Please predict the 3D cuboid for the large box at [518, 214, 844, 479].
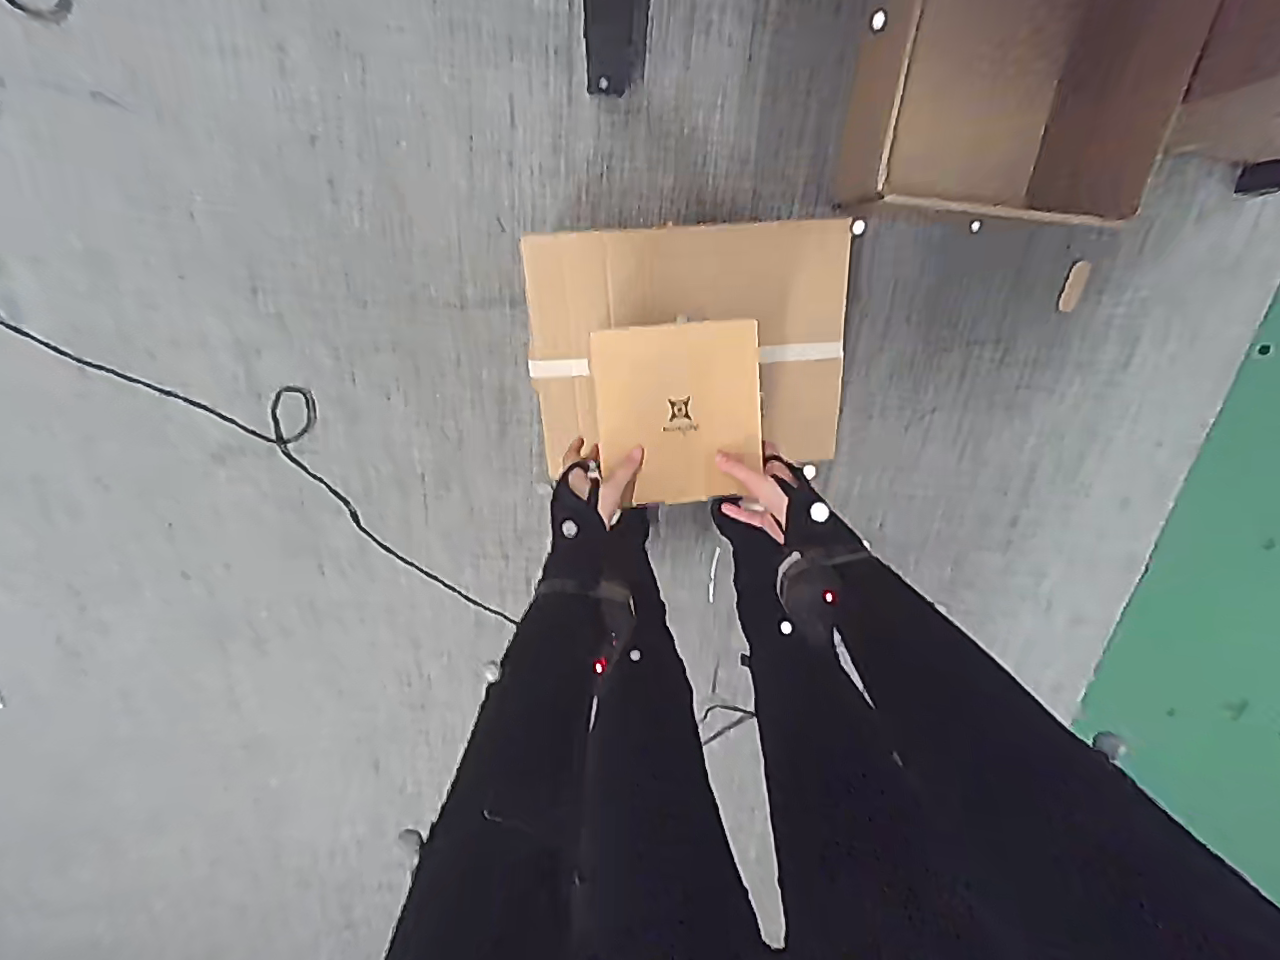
[{"bbox_3d":[0.049,-0.211,0.837,0.408,0.320,0.320,-5,111,-3],"label":"large box"}]
